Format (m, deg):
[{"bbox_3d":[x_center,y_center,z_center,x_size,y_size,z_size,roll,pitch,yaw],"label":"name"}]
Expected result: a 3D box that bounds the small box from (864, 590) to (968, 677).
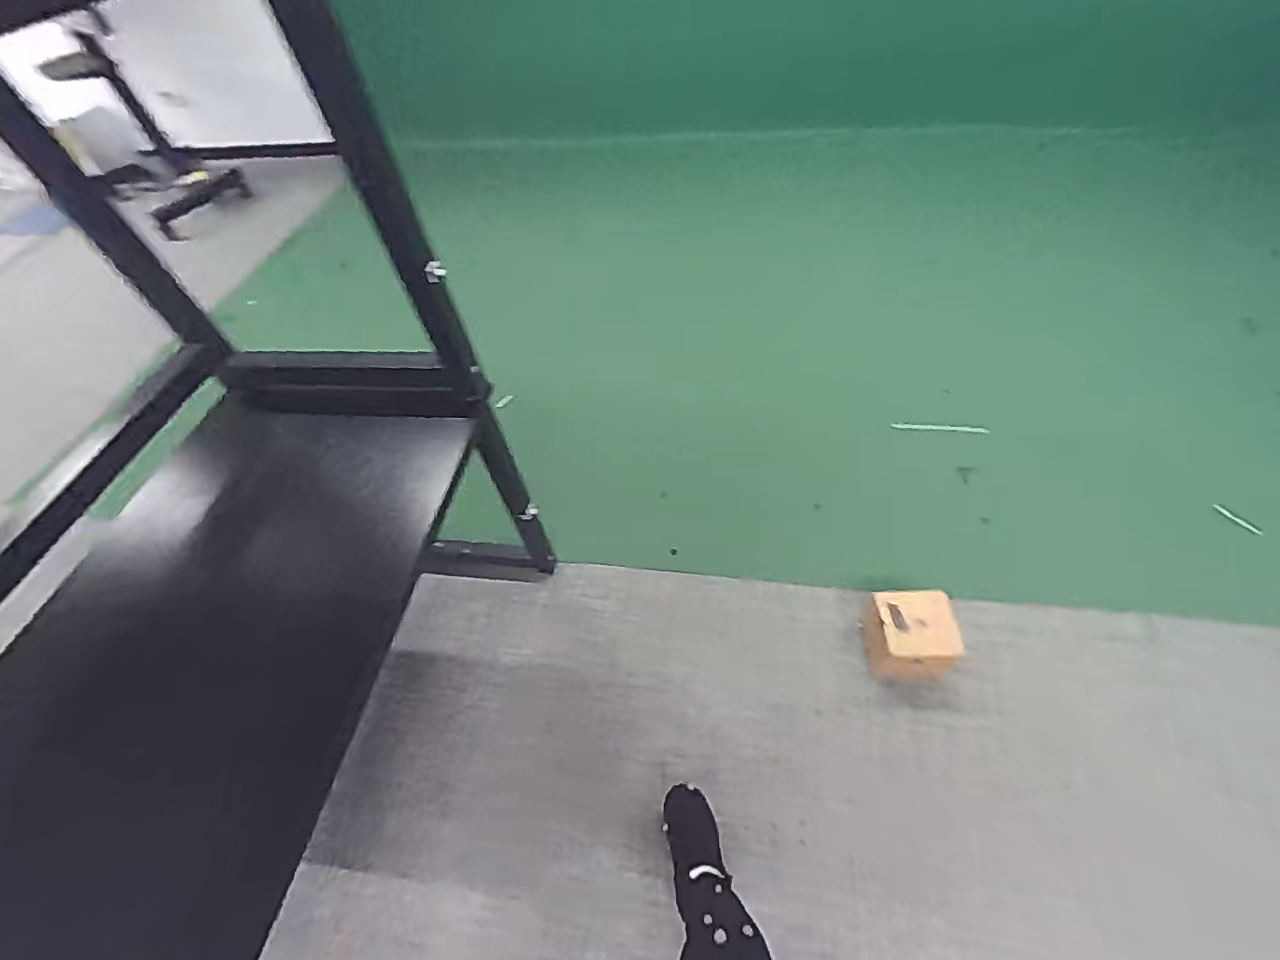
[{"bbox_3d":[0.682,0.391,1.365,0.179,0.176,0.168,-2,53,4],"label":"small box"}]
